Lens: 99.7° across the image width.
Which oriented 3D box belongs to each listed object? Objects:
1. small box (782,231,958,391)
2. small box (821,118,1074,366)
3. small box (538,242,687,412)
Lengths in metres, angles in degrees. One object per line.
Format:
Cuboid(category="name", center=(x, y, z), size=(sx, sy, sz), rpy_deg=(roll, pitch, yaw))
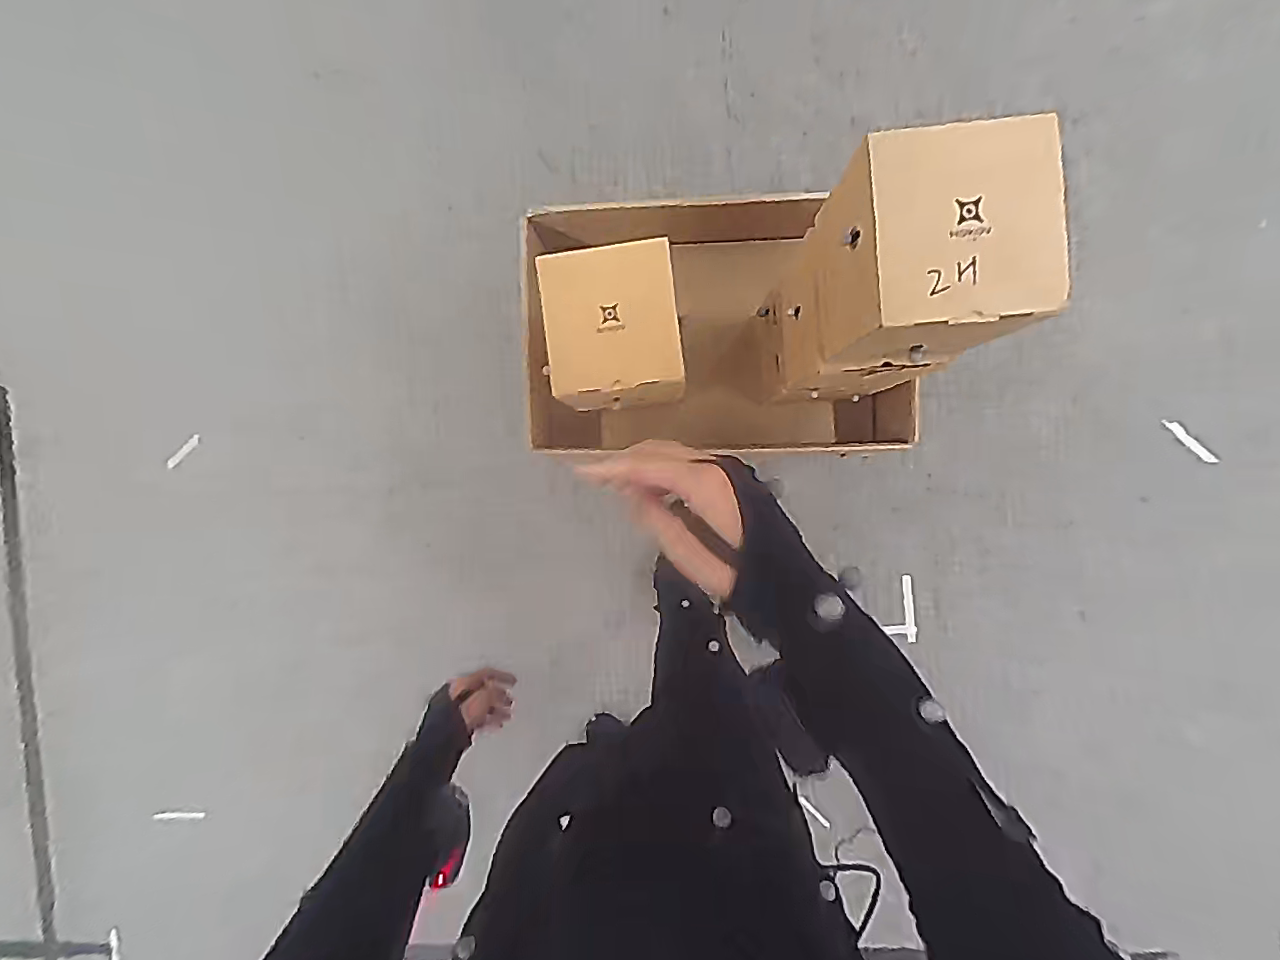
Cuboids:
Cuboid(category="small box", center=(0.290, -0.215, 0.714), size=(0.168, 0.176, 0.179), rpy_deg=(-4, 91, 2))
Cuboid(category="small box", center=(0.291, -0.223, 0.549), size=(0.168, 0.176, 0.179), rpy_deg=(-5, 92, 3))
Cuboid(category="small box", center=(-0.030, -0.194, 0.733), size=(0.168, 0.176, 0.179), rpy_deg=(-8, 93, 3))
